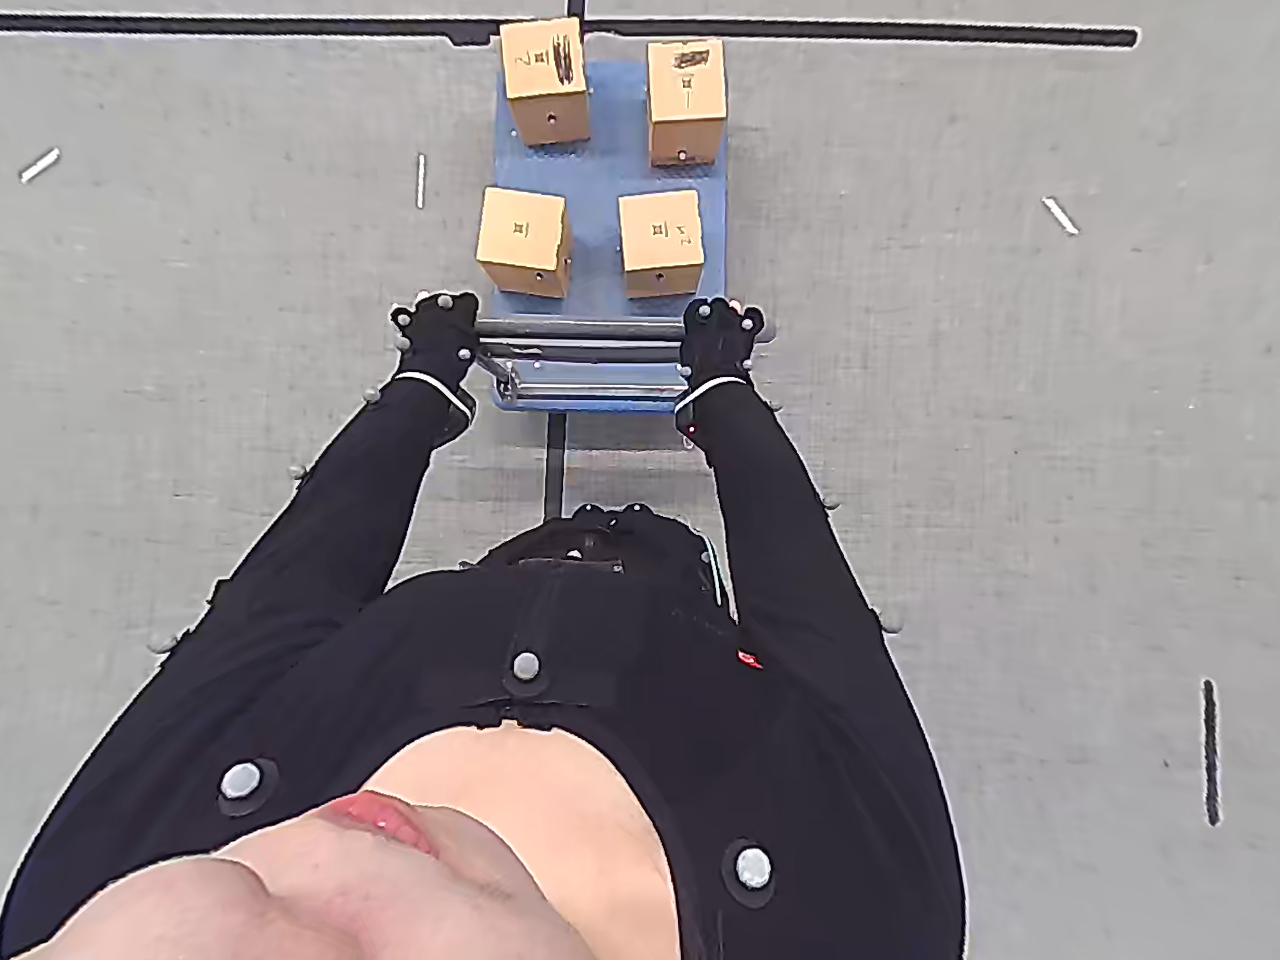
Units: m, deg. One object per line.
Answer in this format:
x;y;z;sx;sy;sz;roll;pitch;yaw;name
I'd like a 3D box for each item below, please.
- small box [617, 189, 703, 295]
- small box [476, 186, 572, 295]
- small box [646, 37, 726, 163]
0.045;-0.539;1.246;0.179;0.176;0.168;-5;89;0;small box
-0.260;-0.543;1.246;0.179;0.176;0.168;7;89;-1;small box
0.101;-0.872;1.253;0.168;0.176;0.179;-3;90;0;small box
